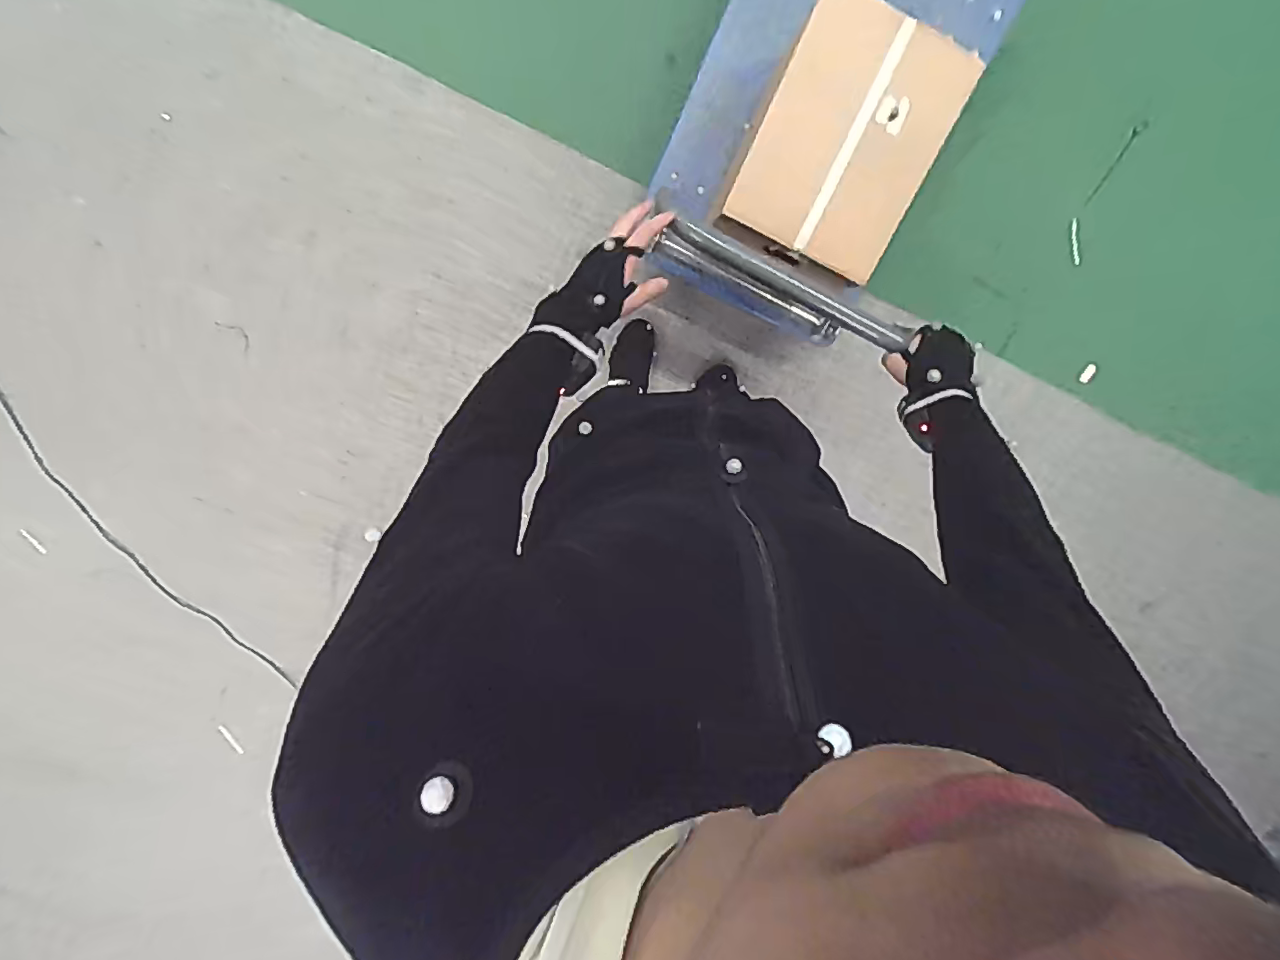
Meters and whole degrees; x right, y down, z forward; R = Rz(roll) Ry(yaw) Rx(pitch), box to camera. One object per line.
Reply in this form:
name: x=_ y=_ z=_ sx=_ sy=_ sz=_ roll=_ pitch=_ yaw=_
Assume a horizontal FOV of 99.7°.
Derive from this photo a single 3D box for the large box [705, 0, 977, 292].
large box: x=0.368 y=-0.647 z=1.111 sx=0.320 sy=0.320 sz=0.408 roll=24 pitch=104 yaw=-9
